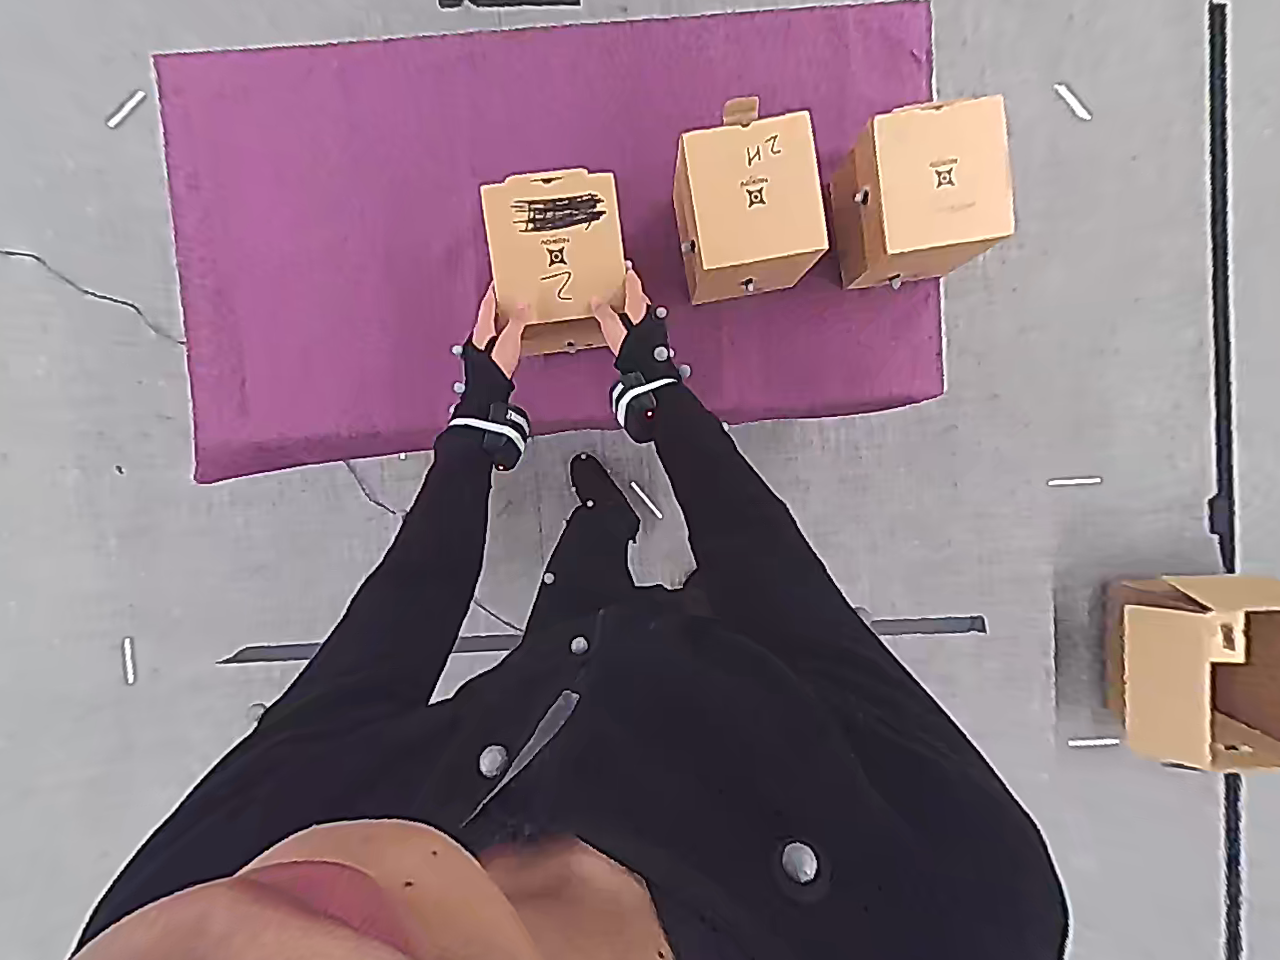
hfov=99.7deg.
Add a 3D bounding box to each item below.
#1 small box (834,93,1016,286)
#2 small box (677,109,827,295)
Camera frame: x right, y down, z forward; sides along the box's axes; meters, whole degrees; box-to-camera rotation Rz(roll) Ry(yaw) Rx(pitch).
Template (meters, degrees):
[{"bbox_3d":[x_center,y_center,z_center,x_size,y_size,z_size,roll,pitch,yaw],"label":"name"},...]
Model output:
[{"bbox_3d":[0.387,-0.396,0.764,0.168,0.176,0.179,-8,93,2],"label":"small box"},{"bbox_3d":[0.148,-0.375,0.767,0.168,0.176,0.179,-10,93,1],"label":"small box"}]
